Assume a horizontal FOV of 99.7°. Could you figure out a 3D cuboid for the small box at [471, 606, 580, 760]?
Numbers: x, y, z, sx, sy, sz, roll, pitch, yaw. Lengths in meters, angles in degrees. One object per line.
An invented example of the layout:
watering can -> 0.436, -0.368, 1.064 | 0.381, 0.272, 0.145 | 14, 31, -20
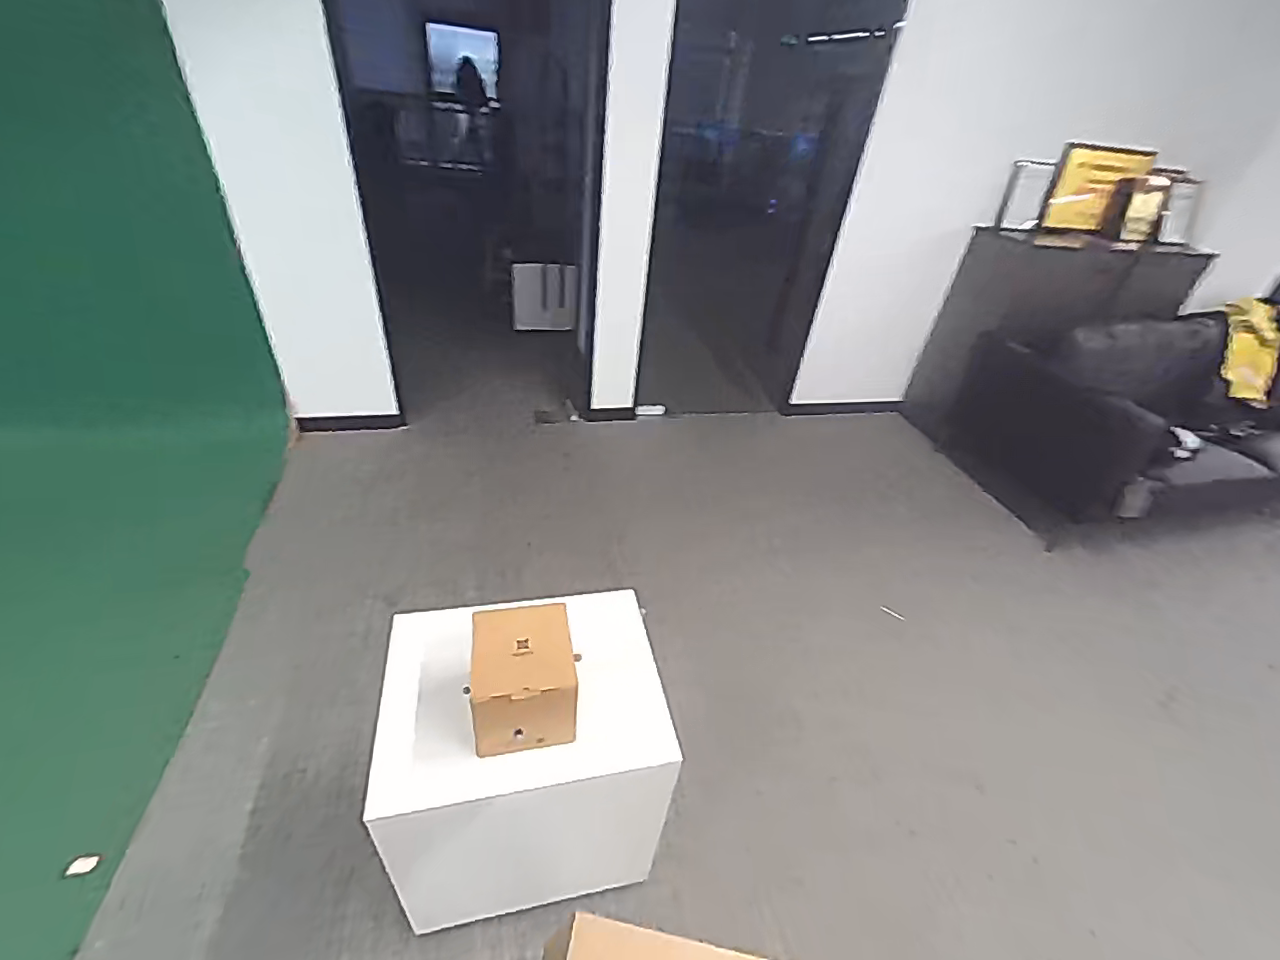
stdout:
small box -> -0.199, 0.343, 0.927 | 0.168, 0.176, 0.179 | -3, 36, -14
